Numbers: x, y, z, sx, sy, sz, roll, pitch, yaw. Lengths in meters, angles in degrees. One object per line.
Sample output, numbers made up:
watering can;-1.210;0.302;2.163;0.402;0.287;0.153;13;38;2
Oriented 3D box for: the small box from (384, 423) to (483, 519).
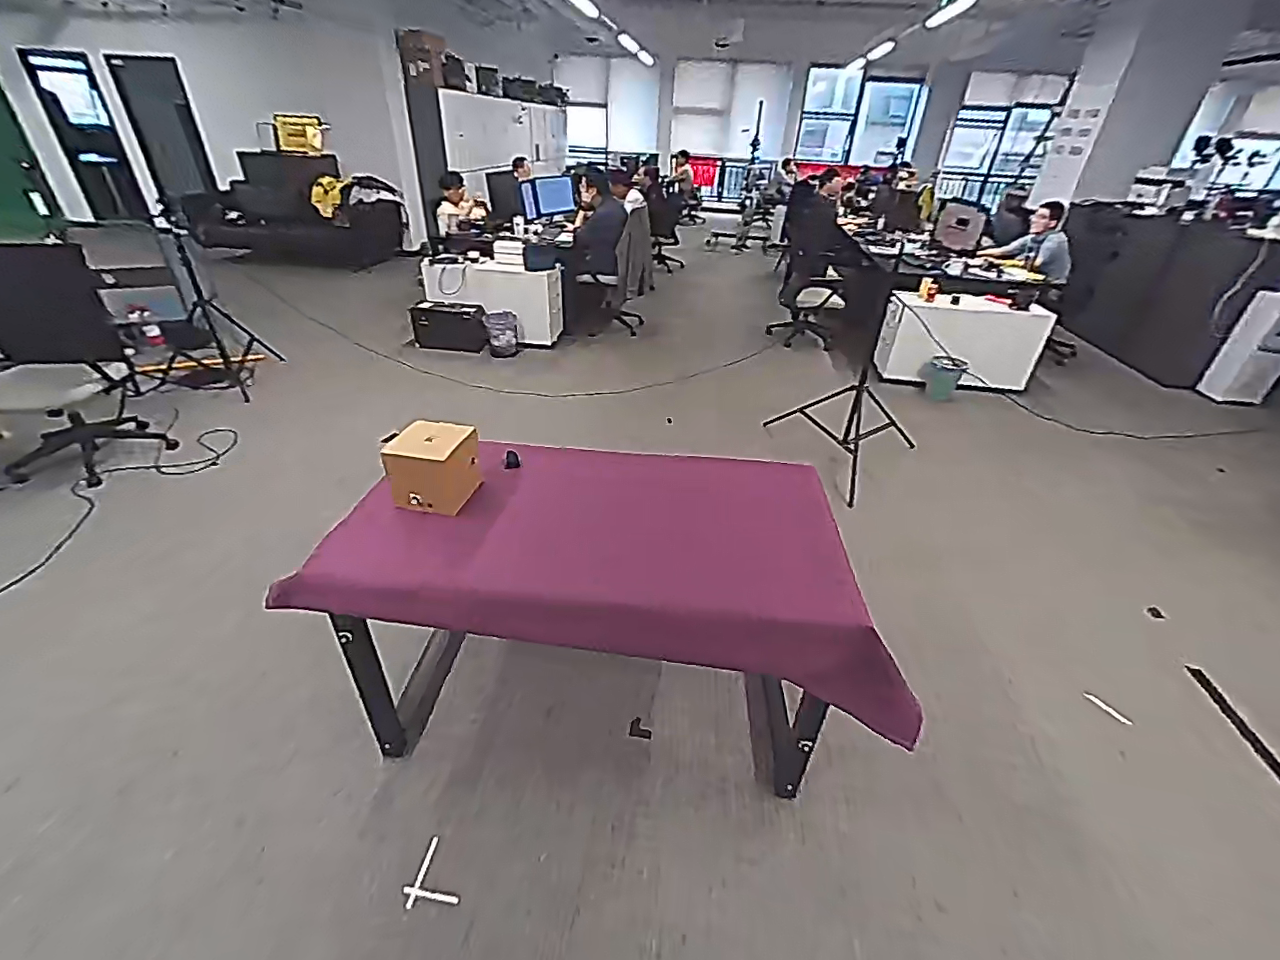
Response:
small box;-0.513;-0.025;1.373;0.168;0.176;0.179;7;34;8
